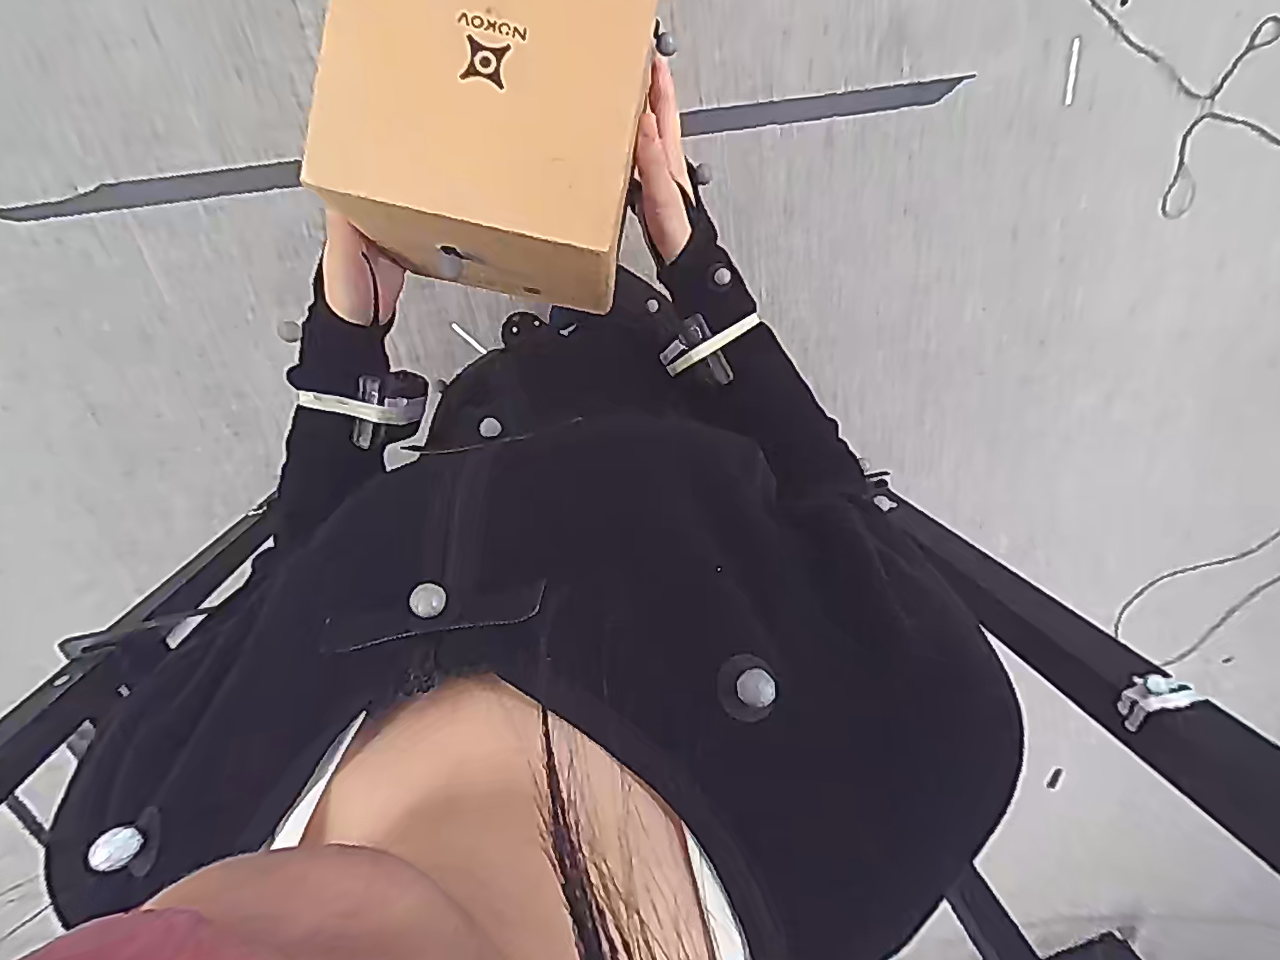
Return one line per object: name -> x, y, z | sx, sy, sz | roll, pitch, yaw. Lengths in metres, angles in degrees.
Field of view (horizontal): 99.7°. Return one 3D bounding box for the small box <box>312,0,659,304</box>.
small box -> -0.083, -0.233, 0.363 | 0.168, 0.176, 0.179 | 10, 94, -5
